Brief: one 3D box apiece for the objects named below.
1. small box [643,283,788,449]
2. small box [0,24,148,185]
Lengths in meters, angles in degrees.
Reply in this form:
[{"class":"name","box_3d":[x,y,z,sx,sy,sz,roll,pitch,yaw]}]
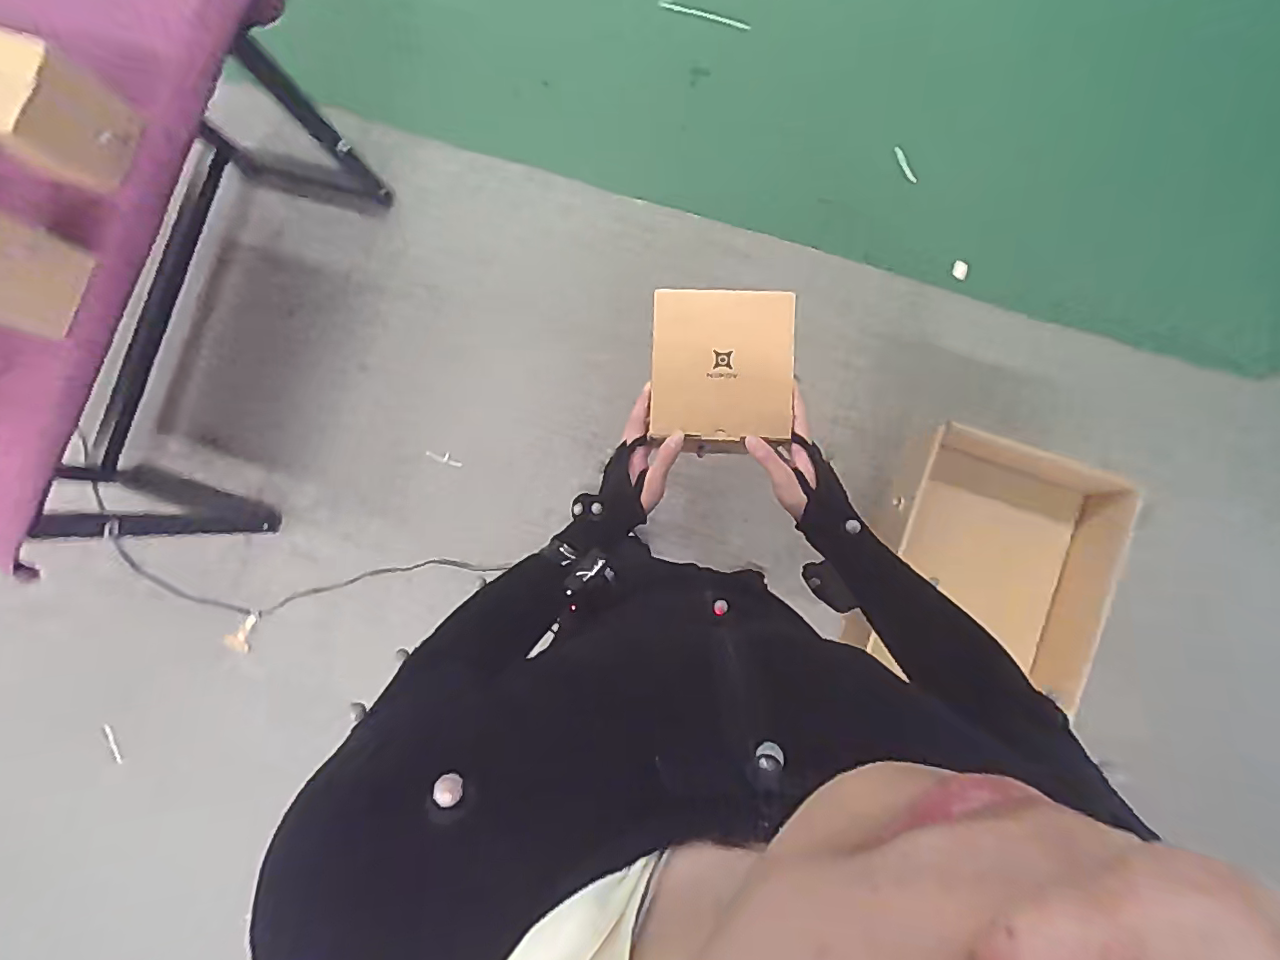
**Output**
[{"class":"small box","box_3d":[0.089,-0.137,0.702,0.168,0.176,0.179,1,88,2]},{"class":"small box","box_3d":[-1.070,-0.673,0.980,0.179,0.176,0.168,20,88,6]}]
